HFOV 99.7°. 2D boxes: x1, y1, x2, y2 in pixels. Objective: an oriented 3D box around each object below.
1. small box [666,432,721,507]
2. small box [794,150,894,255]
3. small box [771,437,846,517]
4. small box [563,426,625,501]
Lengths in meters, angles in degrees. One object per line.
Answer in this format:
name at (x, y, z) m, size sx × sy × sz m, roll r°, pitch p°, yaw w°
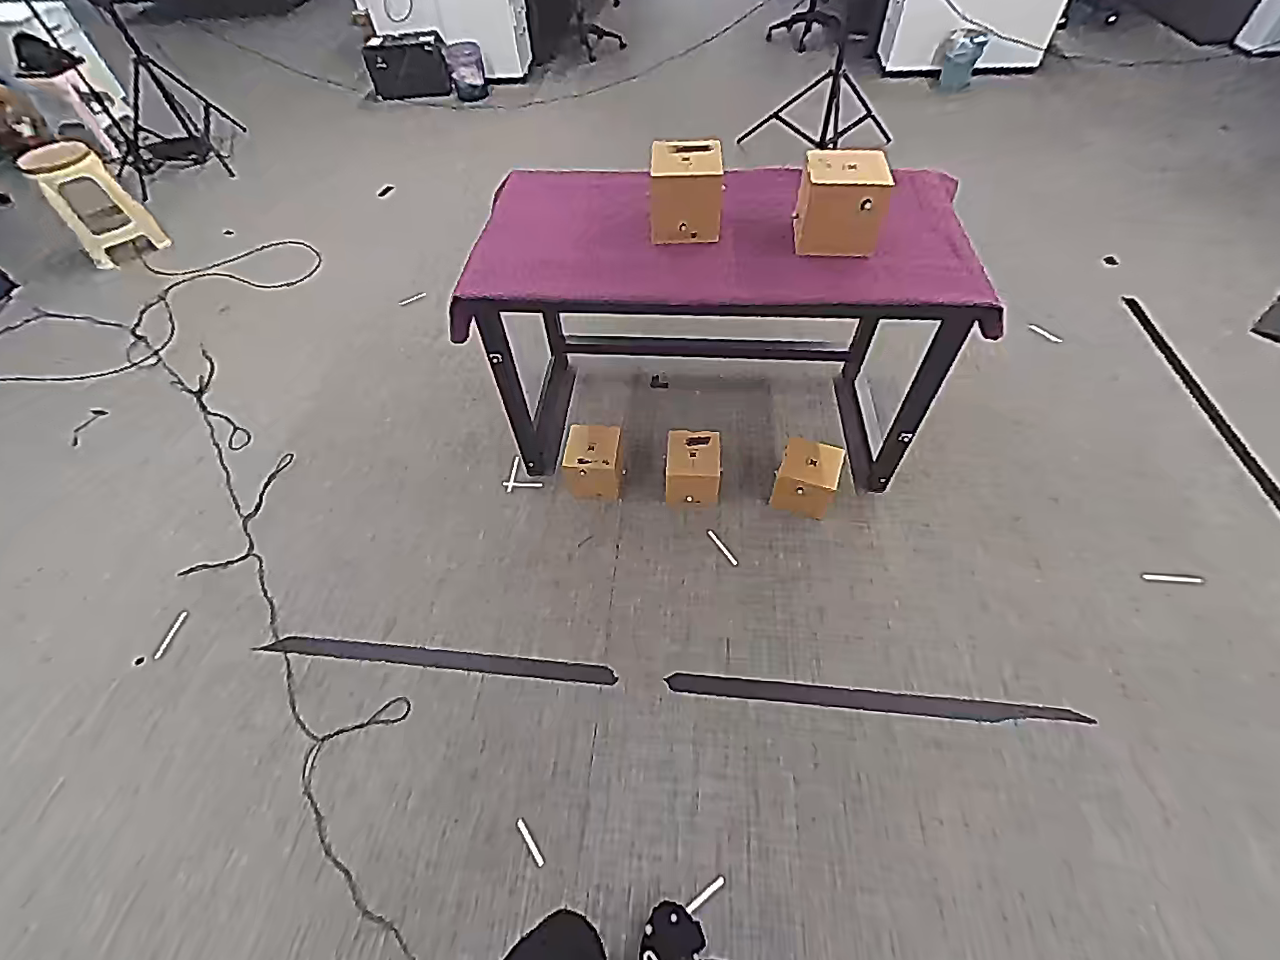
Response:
small box at (0.171, -0.034, 1.737) m, size 0.168 × 0.176 × 0.179 m, roll 2°, pitch 54°, yaw 5°
small box at (0.466, -0.644, 1.263) m, size 0.179 × 0.176 × 0.168 m, roll 4°, pitch 53°, yaw 7°
small box at (0.524, -0.005, 1.696) m, size 0.179 × 0.176 × 0.168 m, roll 16°, pitch 57°, yaw 16°
small box at (-0.144, -0.053, 1.770) m, size 0.168 × 0.176 × 0.179 m, roll 4°, pitch 52°, yaw 6°
